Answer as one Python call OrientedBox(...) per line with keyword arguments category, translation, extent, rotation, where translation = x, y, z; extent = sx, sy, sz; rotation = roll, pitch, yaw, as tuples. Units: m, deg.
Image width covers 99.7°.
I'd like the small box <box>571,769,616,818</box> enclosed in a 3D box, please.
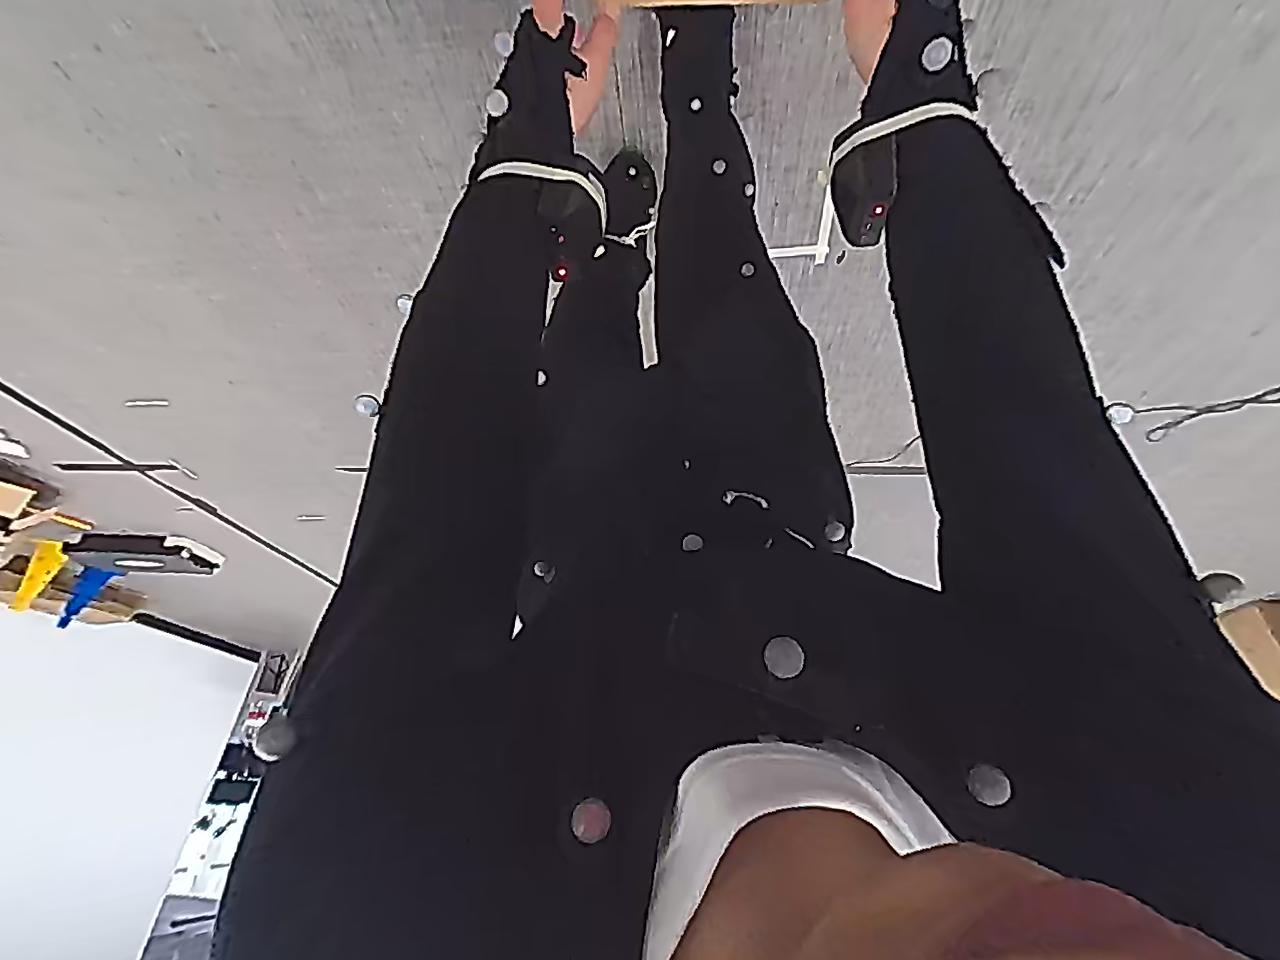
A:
OrientedBox(category="small box", translation=(-0.193, 1.321, 2.281), extent=(0.168, 0.176, 0.179), rotation=(1, 148, 3))
